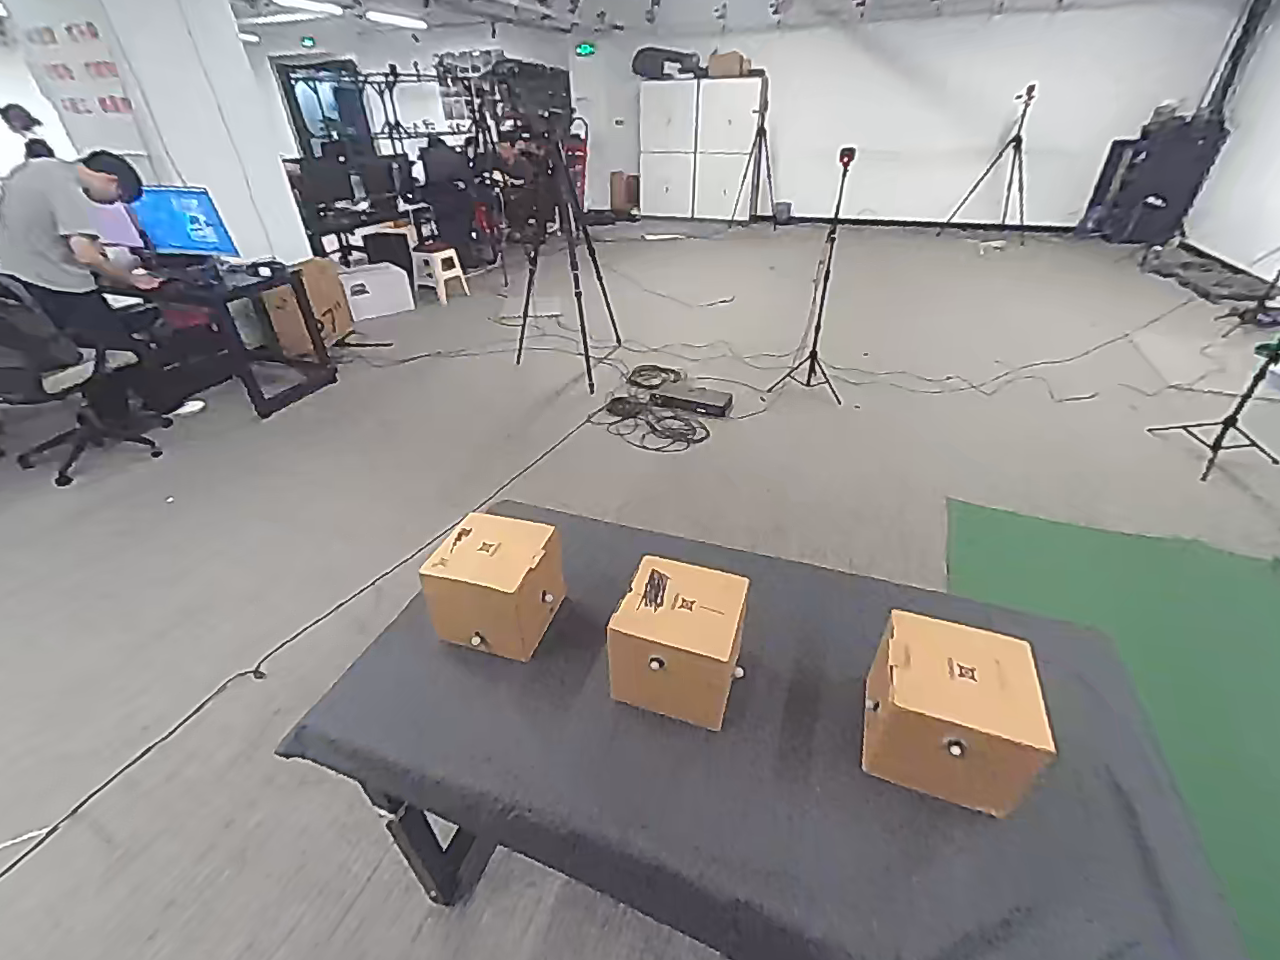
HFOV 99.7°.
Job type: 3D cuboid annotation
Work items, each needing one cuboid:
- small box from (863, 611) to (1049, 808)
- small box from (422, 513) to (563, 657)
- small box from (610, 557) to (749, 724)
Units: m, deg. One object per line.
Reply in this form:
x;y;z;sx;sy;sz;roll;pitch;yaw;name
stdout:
0.419;0.317;0.751;0.179;0.176;0.168;12;37;17;small box
-0.246;0.186;0.956;0.179;0.176;0.168;10;35;14;small box
0.065;0.251;0.853;0.179;0.176;0.168;11;36;16;small box
